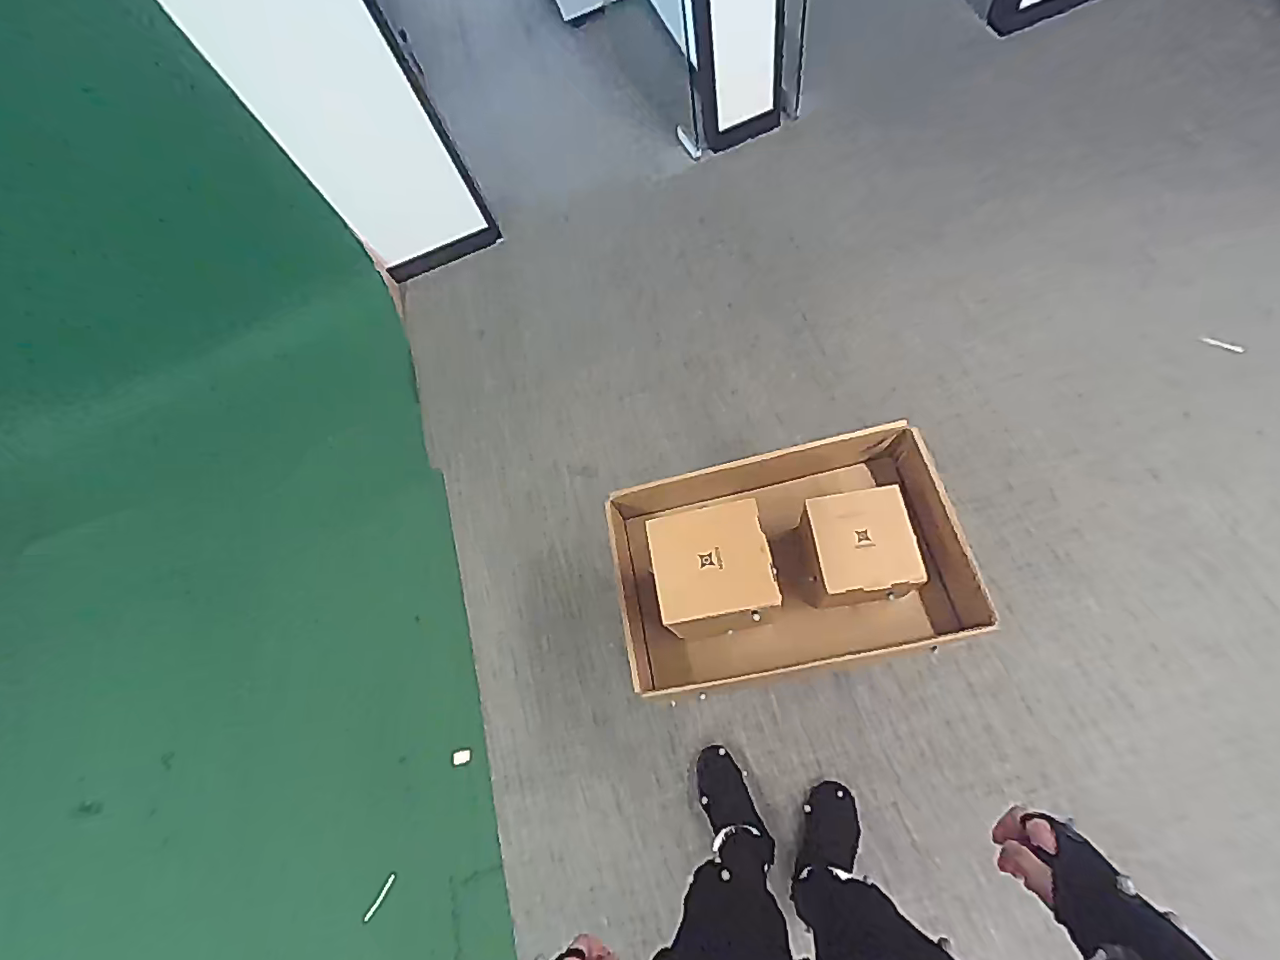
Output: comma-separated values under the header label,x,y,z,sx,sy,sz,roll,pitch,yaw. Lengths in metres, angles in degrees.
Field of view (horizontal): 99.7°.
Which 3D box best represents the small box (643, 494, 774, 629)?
label,x,y,z,sx,sy,sz,roll,pitch,yaw
small box,0.117,0.143,0.888,0.179,0.176,0.168,-13,67,7
